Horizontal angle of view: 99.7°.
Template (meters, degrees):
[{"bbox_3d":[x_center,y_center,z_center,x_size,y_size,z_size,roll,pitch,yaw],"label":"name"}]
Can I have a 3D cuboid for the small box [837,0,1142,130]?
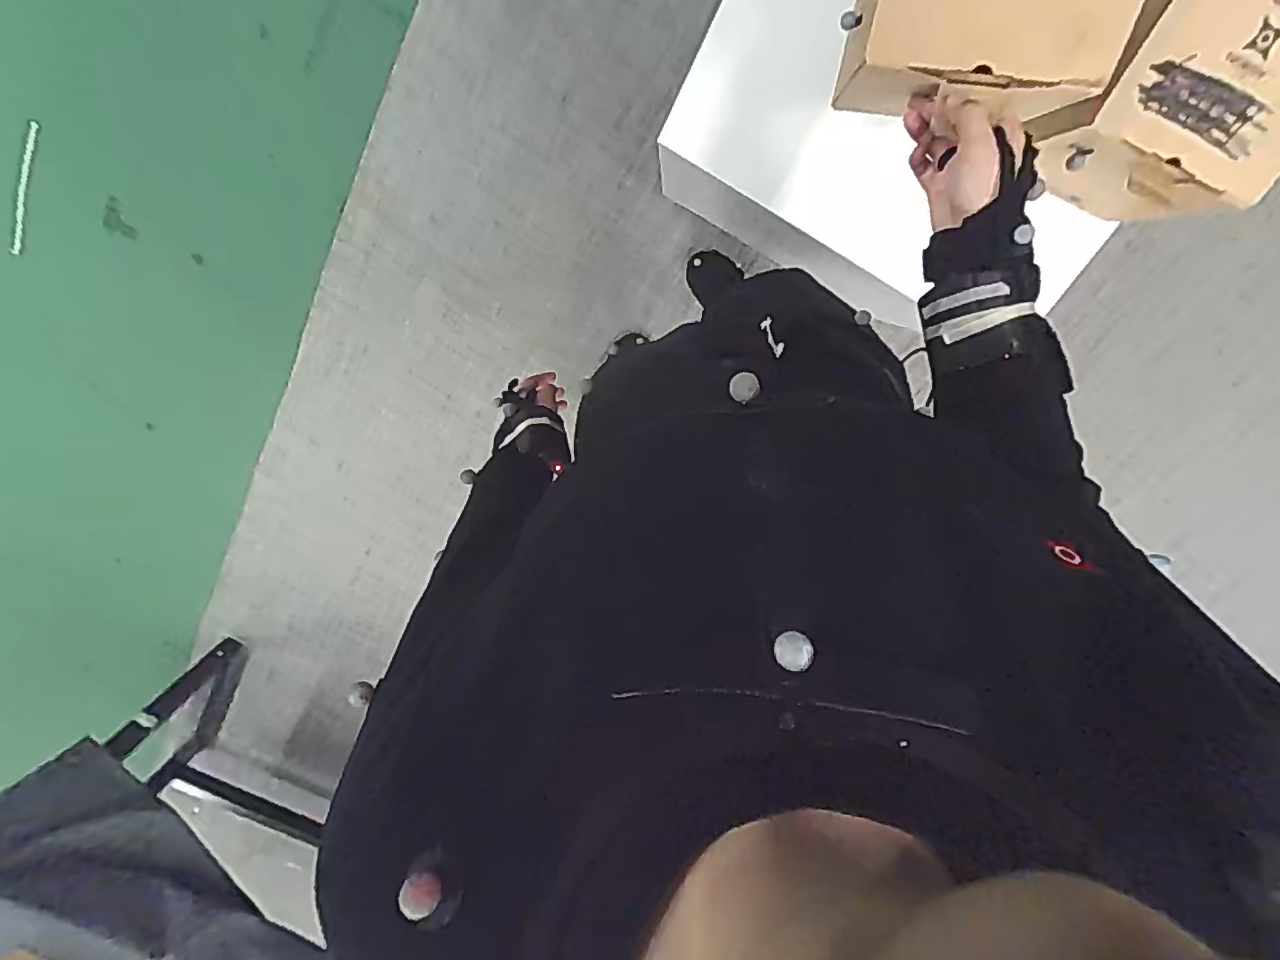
[{"bbox_3d":[0.260,-0.385,0.412,0.168,0.176,0.179,9,115,6],"label":"small box"}]
